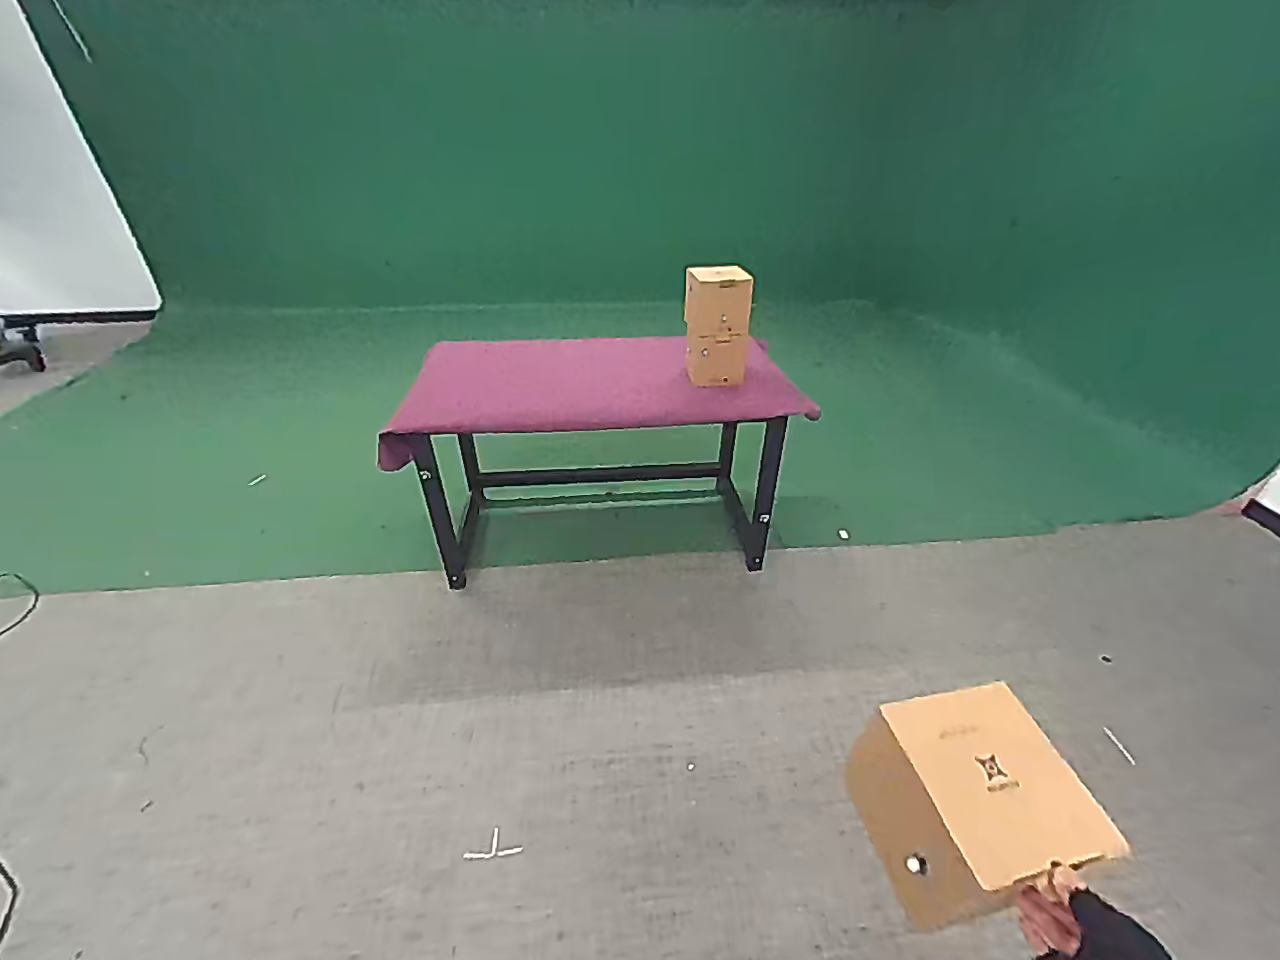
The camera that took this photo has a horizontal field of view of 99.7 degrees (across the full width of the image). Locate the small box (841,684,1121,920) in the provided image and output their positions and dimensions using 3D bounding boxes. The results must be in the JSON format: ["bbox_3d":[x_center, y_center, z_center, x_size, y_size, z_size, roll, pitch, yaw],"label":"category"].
[{"bbox_3d":[0.356,0.362,0.607,0.168,0.176,0.179,-5,40,-10],"label":"small box"}]

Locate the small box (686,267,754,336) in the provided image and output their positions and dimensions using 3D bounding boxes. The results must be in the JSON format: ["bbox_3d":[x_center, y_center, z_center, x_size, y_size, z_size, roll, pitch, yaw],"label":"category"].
[{"bbox_3d":[0.244,-0.562,1.697,0.168,0.176,0.179,-5,35,-7],"label":"small box"}]
